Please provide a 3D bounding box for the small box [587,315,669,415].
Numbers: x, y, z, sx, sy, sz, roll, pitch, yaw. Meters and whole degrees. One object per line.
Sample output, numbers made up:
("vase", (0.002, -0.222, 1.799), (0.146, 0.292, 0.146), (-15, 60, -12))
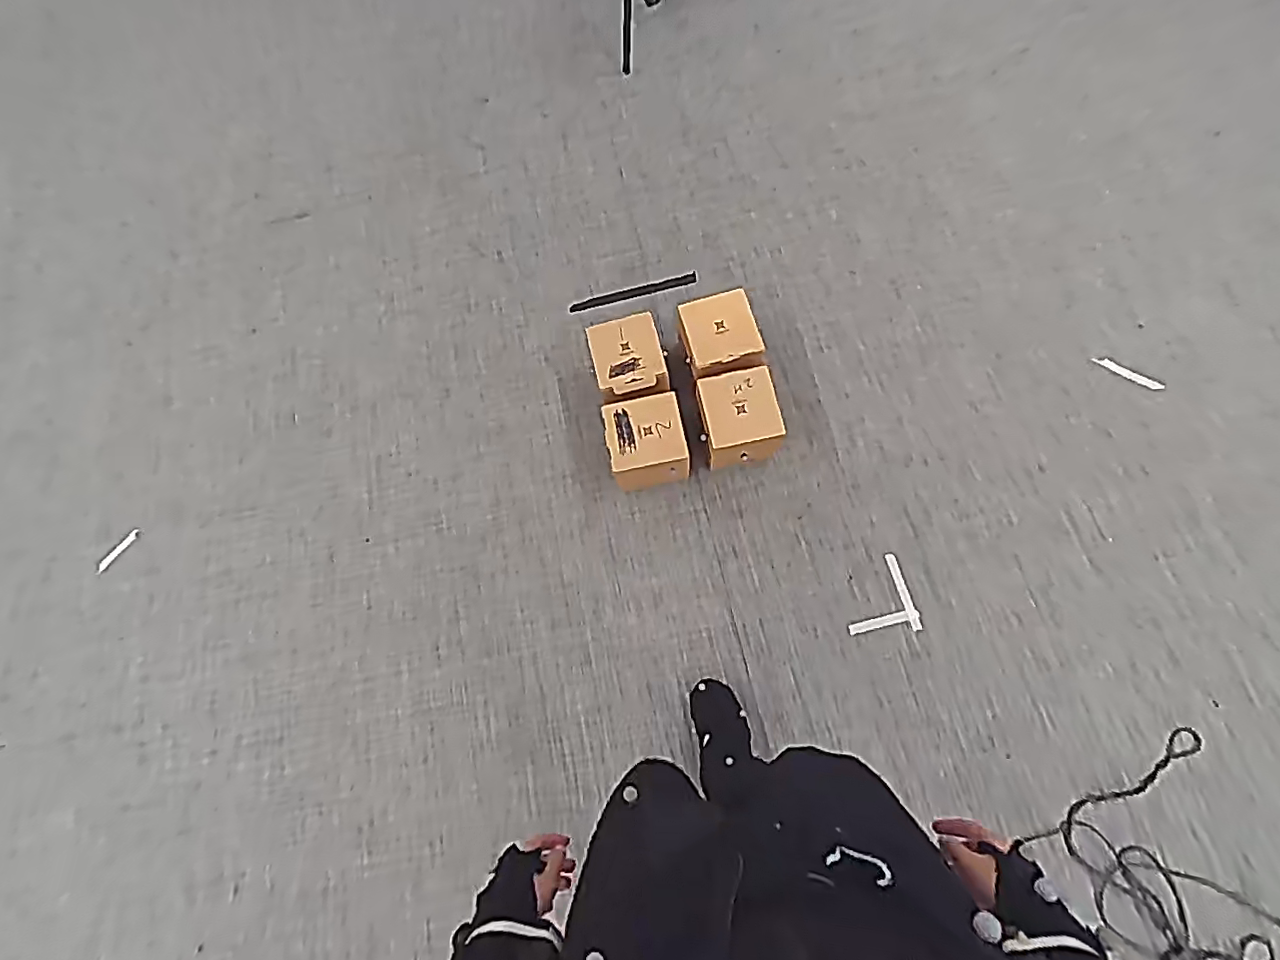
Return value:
("small box", (-0.024, -0.277, 1.351), (0.168, 0.176, 0.179), (-13, 71, 1))
